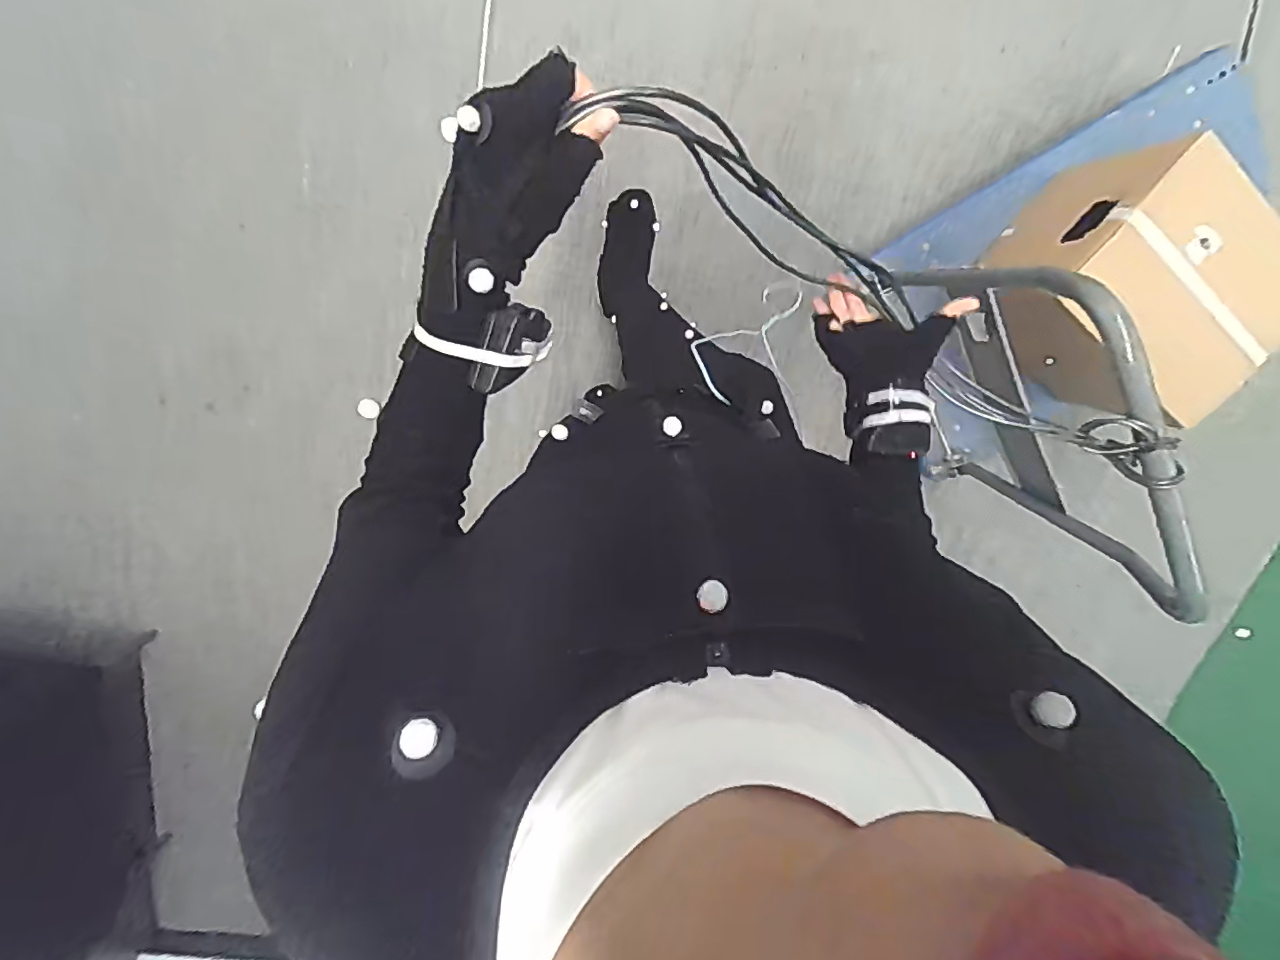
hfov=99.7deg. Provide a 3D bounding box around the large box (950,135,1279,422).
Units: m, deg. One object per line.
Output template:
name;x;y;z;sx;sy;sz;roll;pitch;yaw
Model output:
large box;0.943;-0.379;1.083;0.408;0.320;0.320;36;104;-12
